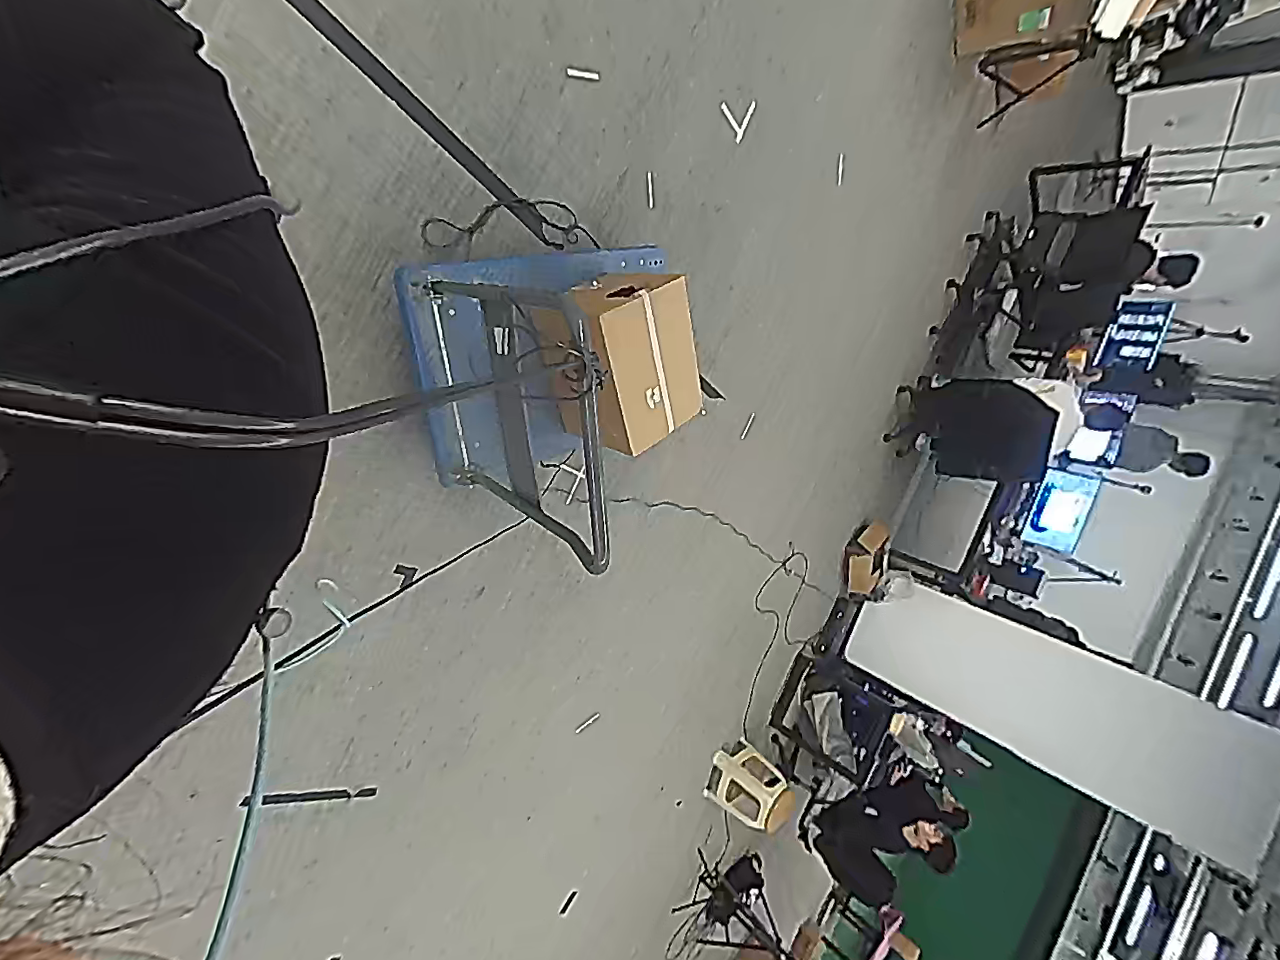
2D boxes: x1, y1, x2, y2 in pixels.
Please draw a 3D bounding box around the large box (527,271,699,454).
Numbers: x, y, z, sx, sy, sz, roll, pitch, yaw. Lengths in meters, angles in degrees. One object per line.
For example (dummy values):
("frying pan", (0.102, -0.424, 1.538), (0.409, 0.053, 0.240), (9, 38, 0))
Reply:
("large box", (-0.066, -0.348, 1.551), (0.320, 0.320, 0.408), (-36, 130, -30))
